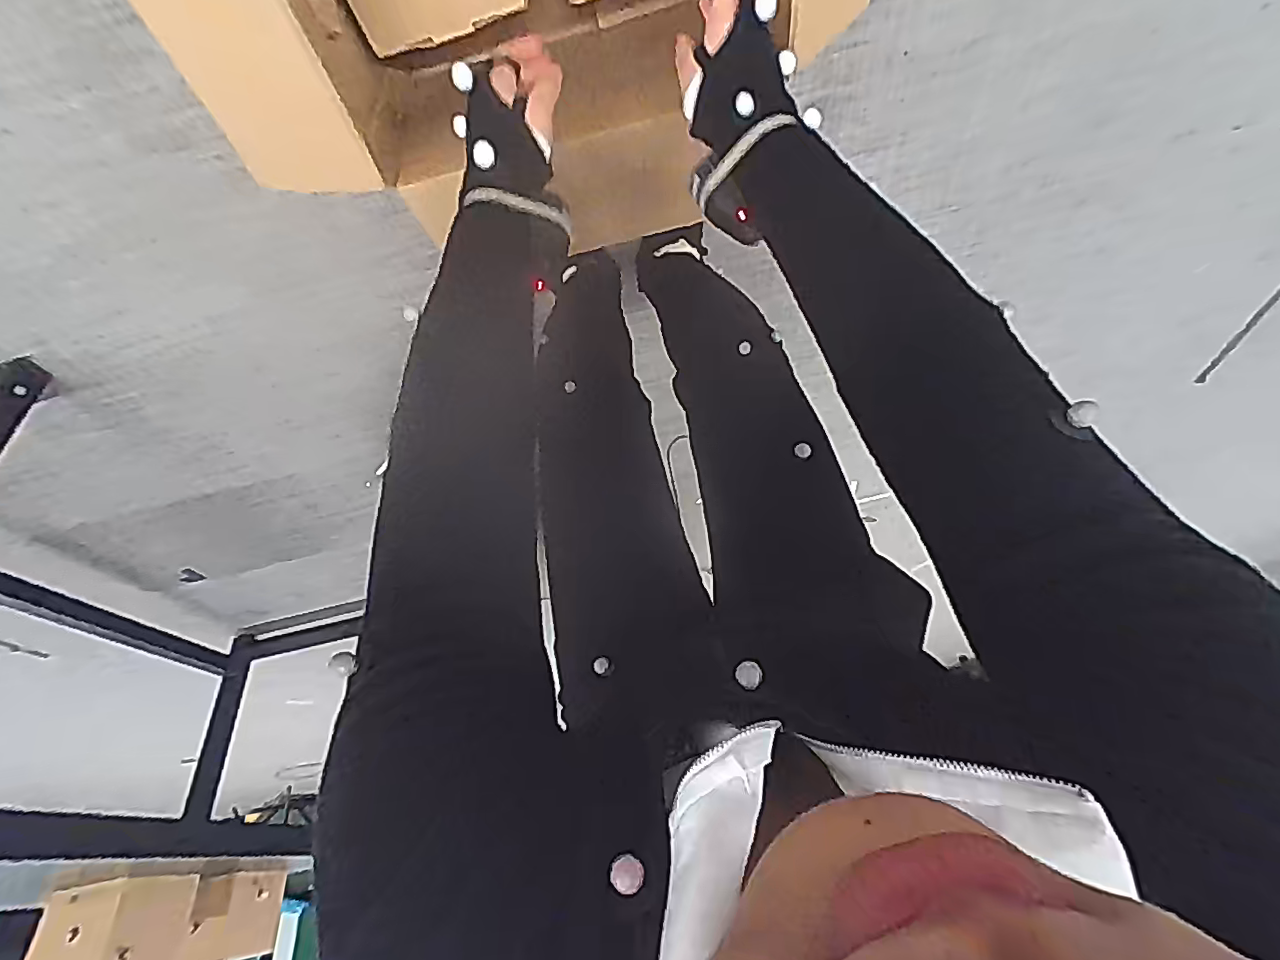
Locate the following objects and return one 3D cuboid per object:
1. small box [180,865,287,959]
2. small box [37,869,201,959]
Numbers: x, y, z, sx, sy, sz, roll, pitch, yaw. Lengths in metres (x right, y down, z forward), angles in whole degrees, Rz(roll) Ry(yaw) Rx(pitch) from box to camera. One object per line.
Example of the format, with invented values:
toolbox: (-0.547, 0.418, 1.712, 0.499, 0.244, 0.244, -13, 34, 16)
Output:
small box: (-1.002, 1.050, 1.309, 0.179, 0.176, 0.168, -15, 144, 4)
small box: (-1.052, 0.903, 1.092, 0.168, 0.176, 0.179, -13, 144, 4)
